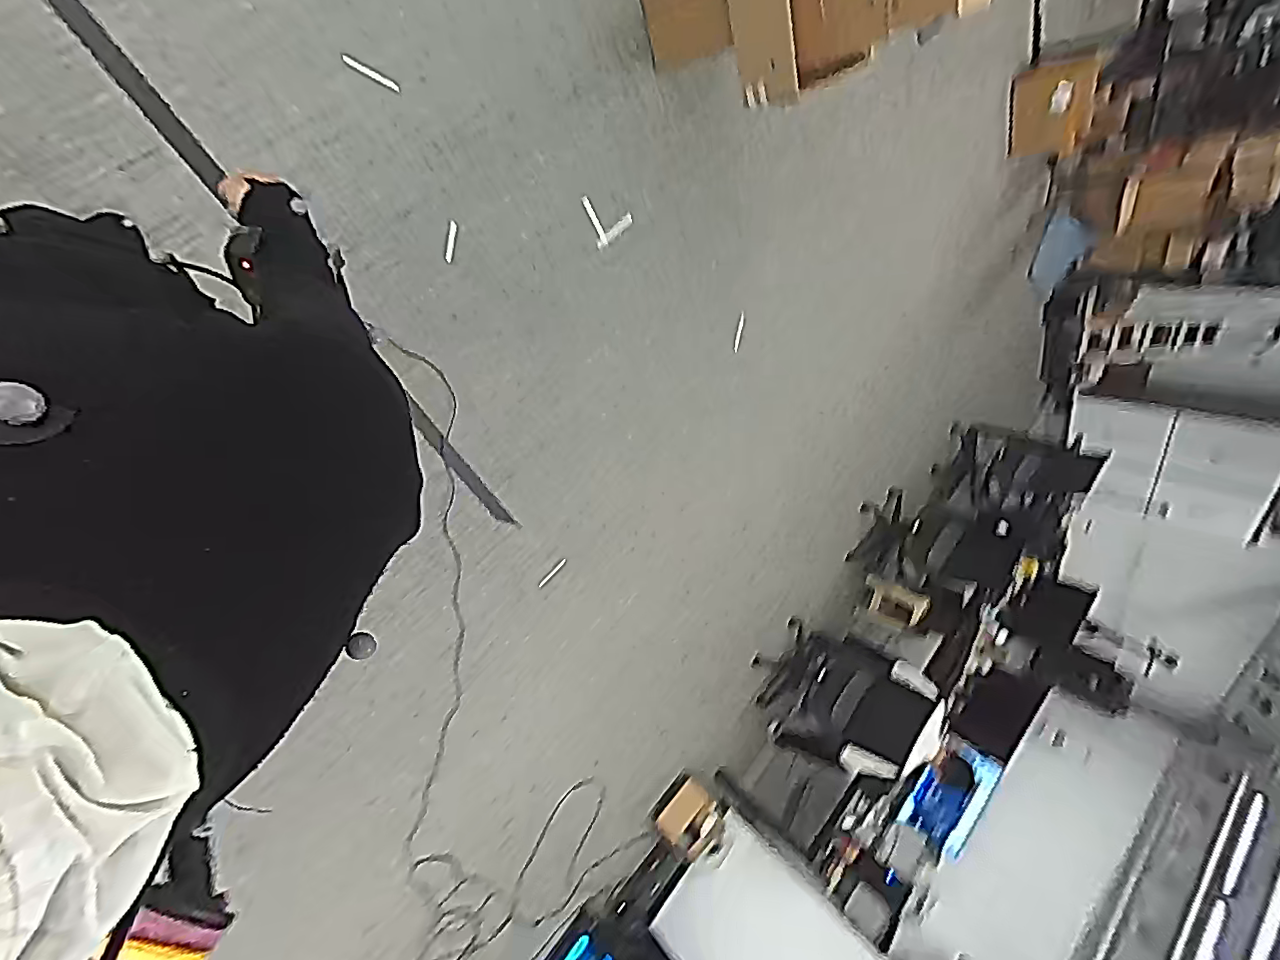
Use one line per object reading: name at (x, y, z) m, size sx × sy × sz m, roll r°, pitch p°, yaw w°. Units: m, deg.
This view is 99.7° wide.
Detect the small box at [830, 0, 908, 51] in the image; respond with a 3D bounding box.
small box at (0.592, -1.229, 1.360) m, size 0.168 × 0.176 × 0.179 m, roll -42°, pitch 129°, yaw -22°

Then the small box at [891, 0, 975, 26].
small box at (0.700, -1.184, 1.244) m, size 0.179 × 0.176 × 0.168 m, roll -37°, pitch 126°, yaw -26°
